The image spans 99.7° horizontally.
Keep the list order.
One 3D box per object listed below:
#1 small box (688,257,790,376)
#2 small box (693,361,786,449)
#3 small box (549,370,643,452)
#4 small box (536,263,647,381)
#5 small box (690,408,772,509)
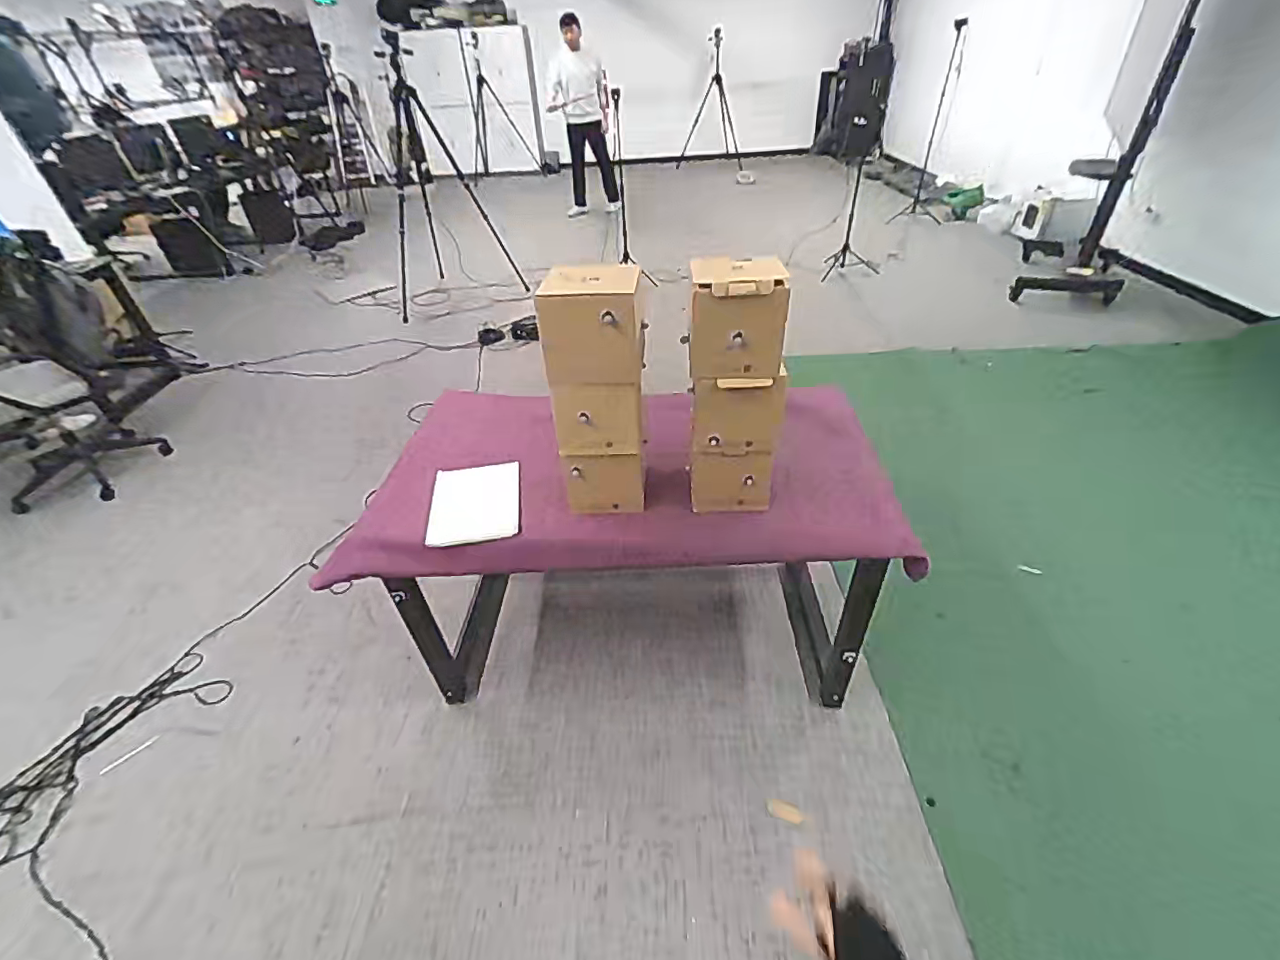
[{"bbox_3d":[0.177,-0.304,1.011,0.168,0.176,0.179,1,39,3],"label":"small box"},{"bbox_3d":[0.195,-0.174,1.111,0.168,0.176,0.179,-1,37,2],"label":"small box"},{"bbox_3d":[-0.081,-0.169,1.123,0.168,0.176,0.179,-1,37,4],"label":"small box"},{"bbox_3d":[-0.081,-0.295,1.016,0.179,0.176,0.168,0,37,6],"label":"small box"},{"bbox_3d":[0.197,-0.048,1.215,0.168,0.176,0.179,0,38,3],"label":"small box"}]
